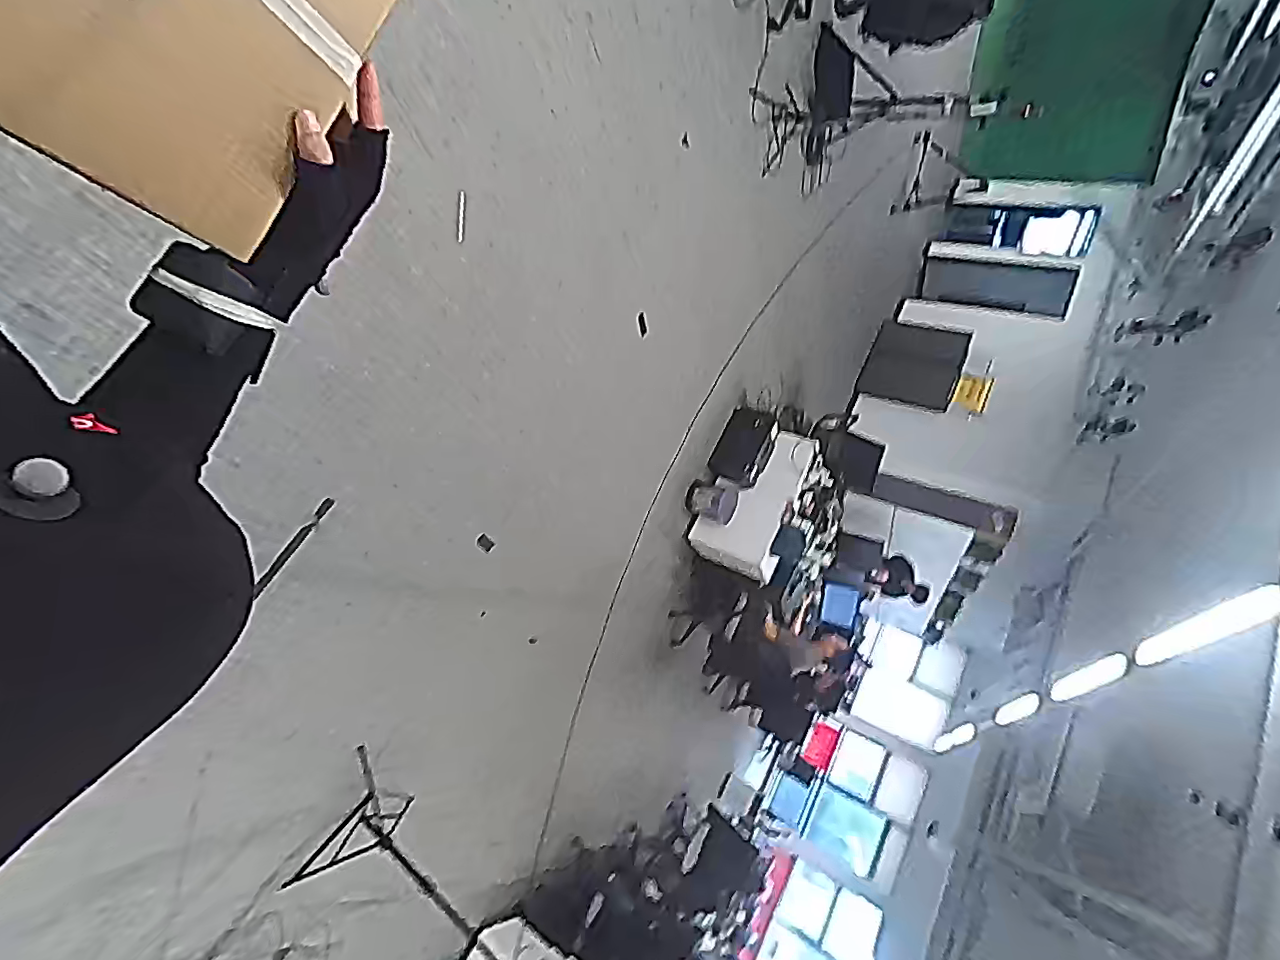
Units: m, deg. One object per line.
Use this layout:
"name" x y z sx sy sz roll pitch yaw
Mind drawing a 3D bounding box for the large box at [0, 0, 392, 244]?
"large box" -0.411 -0.412 0.299 0.320 0.320 0.408 -59 150 1
